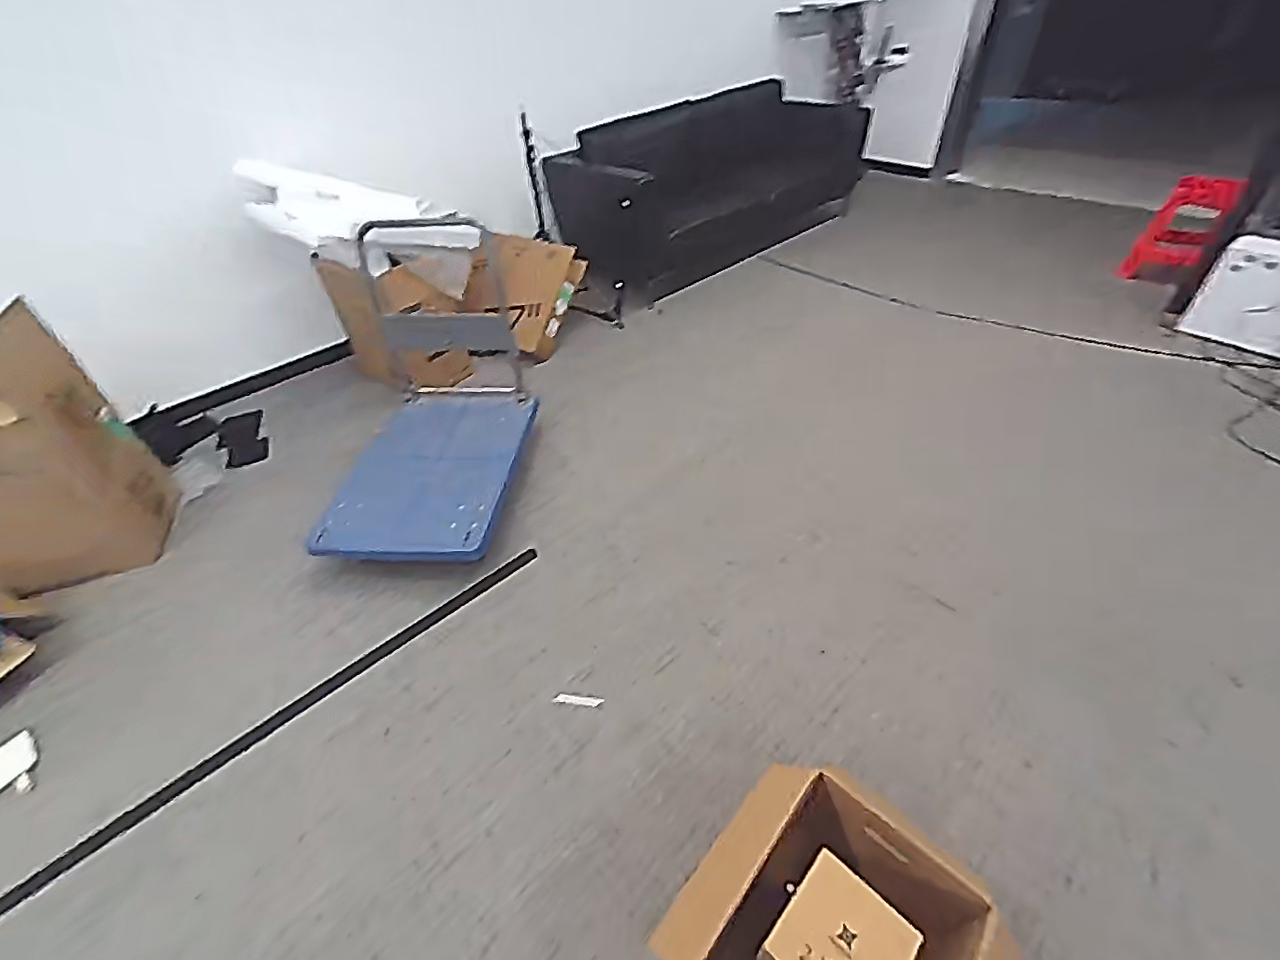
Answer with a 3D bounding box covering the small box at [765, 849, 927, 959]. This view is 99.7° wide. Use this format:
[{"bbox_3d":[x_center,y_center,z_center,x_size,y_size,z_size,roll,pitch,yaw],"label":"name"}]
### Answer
[{"bbox_3d":[0.312,0.739,0.851,0.168,0.176,0.179,31,54,34],"label":"small box"}]
